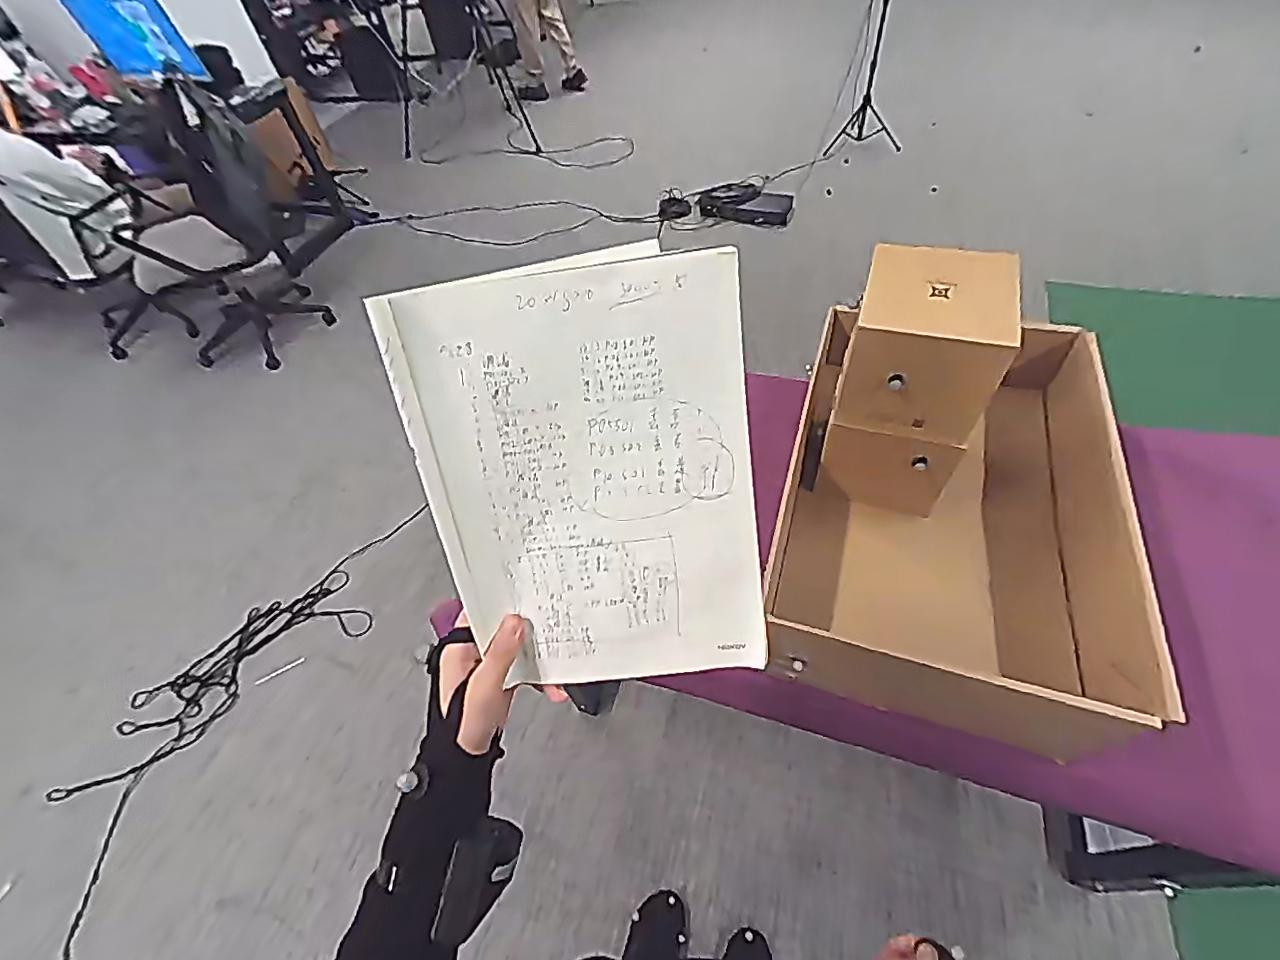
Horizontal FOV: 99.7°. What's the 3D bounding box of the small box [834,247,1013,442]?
[{"bbox_3d":[0.357,-0.173,0.700,0.168,0.176,0.179,13,55,18],"label":"small box"}]
